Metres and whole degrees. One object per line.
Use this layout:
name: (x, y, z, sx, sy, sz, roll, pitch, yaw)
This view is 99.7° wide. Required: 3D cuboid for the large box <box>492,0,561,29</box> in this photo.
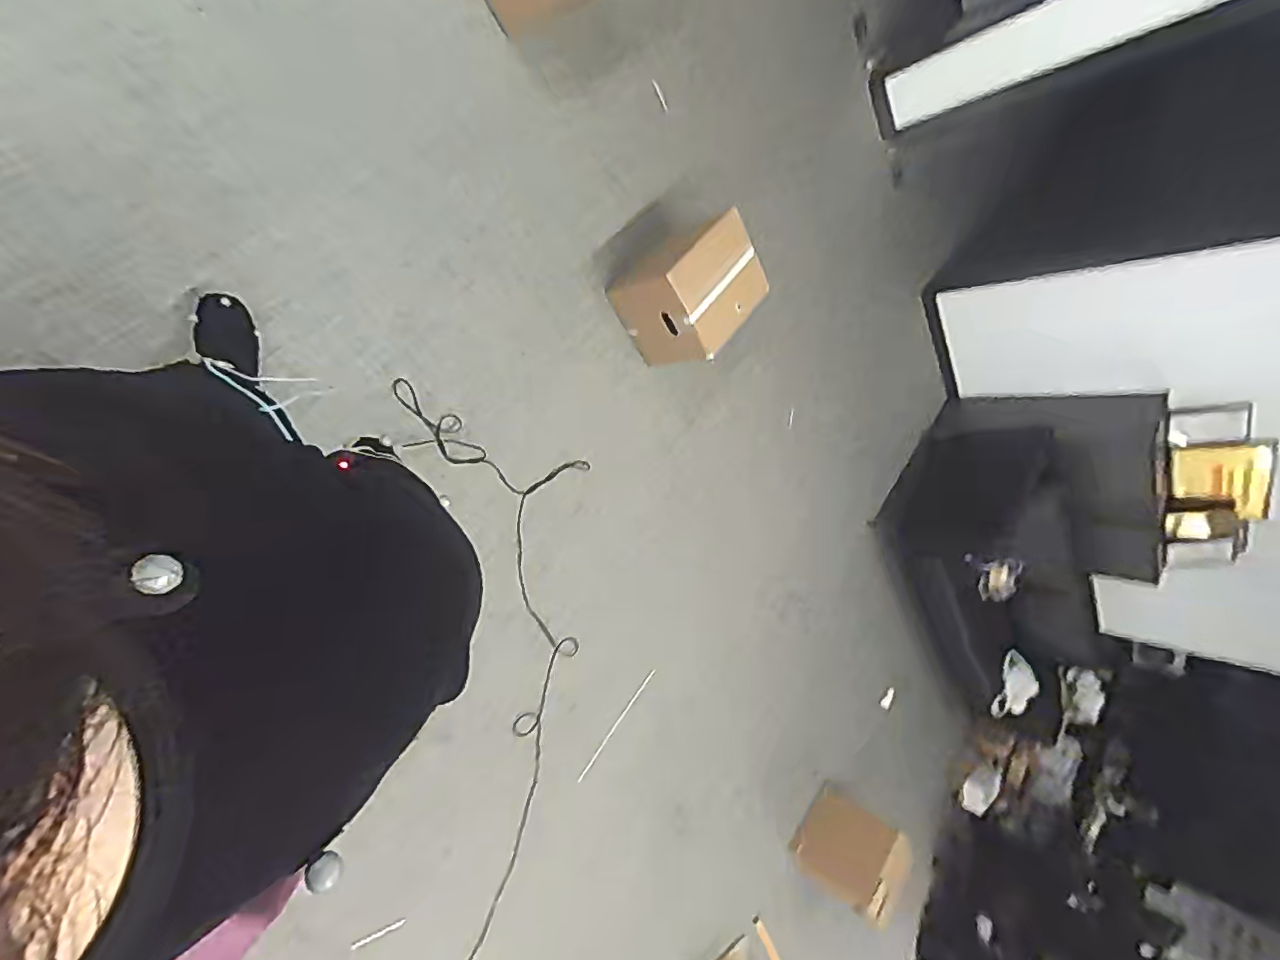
large box: (-0.242, -1.495, 1.404, 0.408, 0.320, 0.320, -51, 124, -24)
